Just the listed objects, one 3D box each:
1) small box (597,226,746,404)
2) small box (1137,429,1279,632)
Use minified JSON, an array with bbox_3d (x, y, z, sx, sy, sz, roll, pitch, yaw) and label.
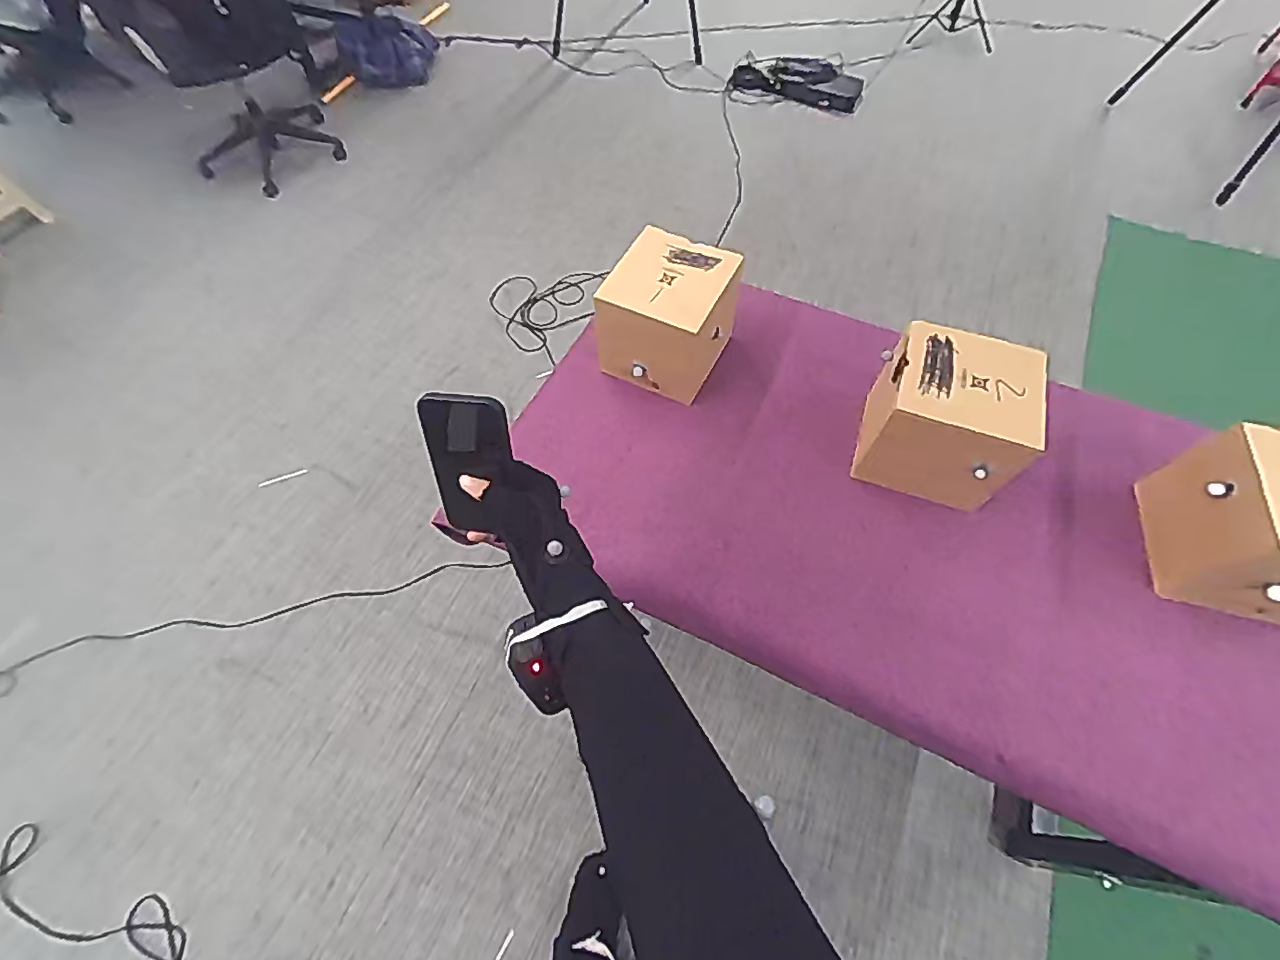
[{"bbox_3d":[0.047,-0.255,0.853,0.168,0.176,0.179,25,65,14],"label":"small box"},{"bbox_3d":[0.769,0.069,0.663,0.168,0.176,0.179,14,61,9],"label":"small box"}]
